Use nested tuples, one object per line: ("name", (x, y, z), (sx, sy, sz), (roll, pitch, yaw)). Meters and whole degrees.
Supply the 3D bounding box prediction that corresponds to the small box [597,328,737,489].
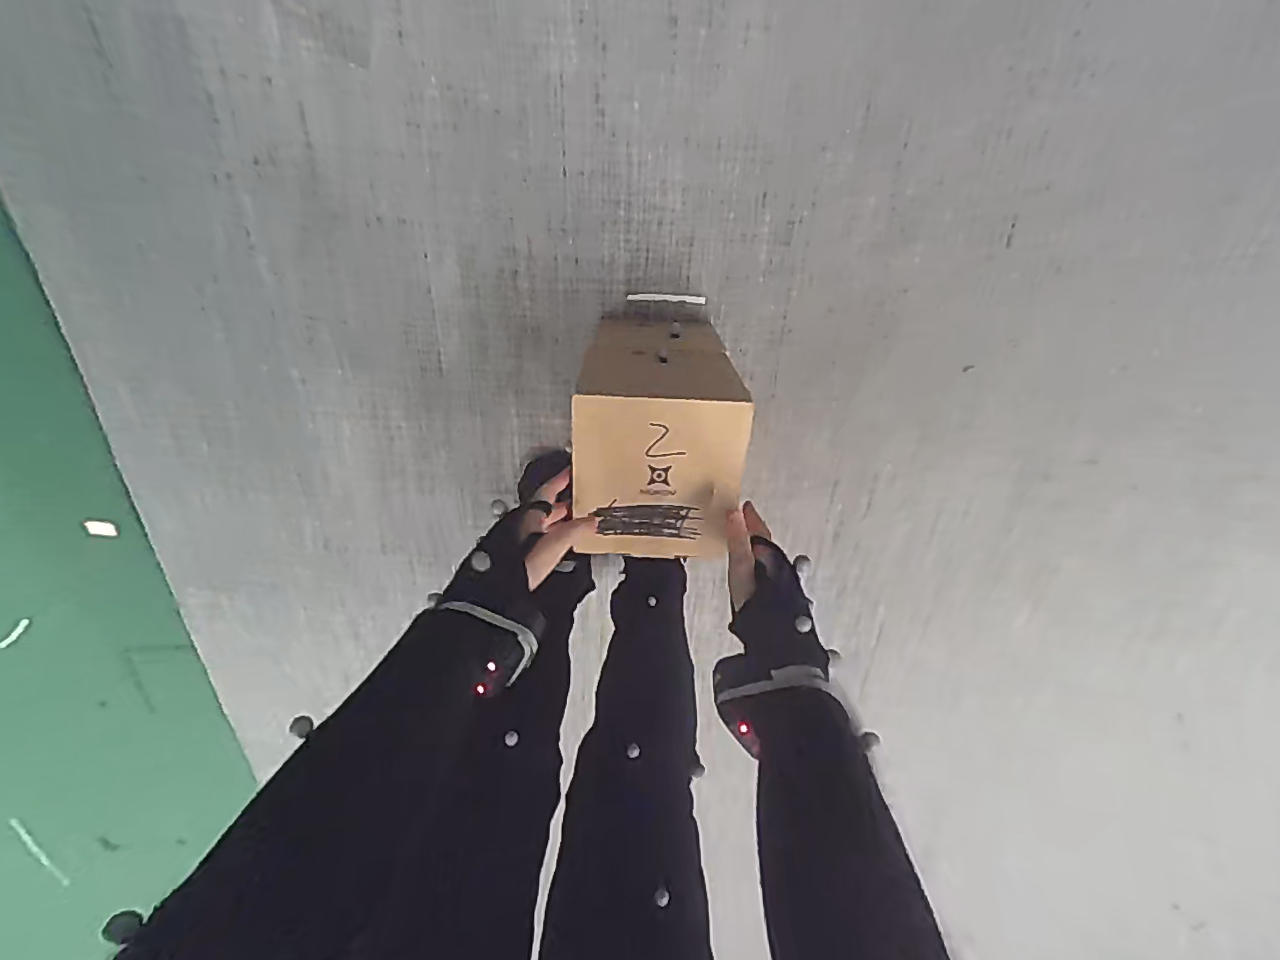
("small box", (0.029, -0.106, 0.749), (0.168, 0.176, 0.179), (3, 118, -2))
